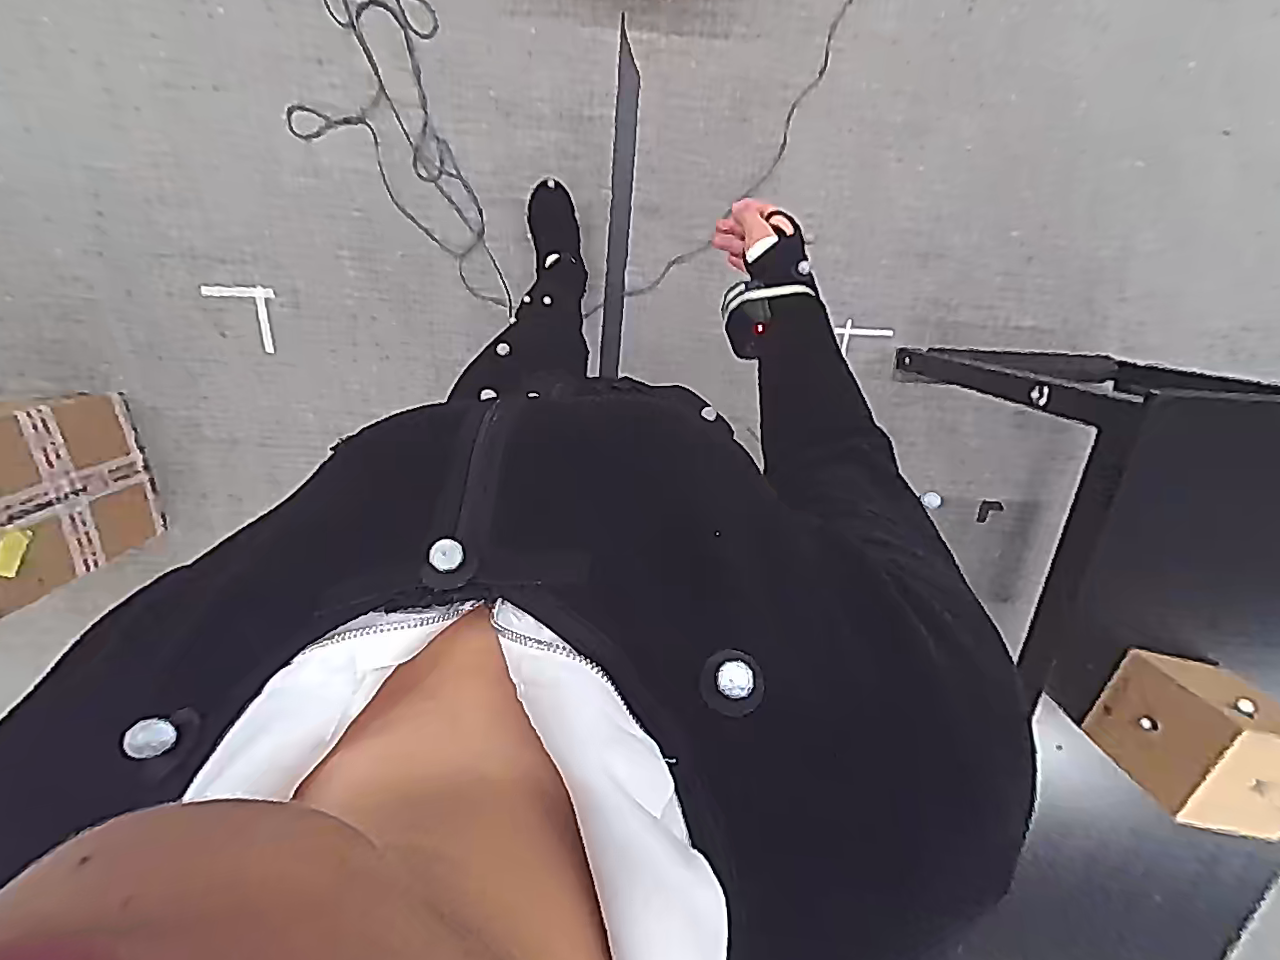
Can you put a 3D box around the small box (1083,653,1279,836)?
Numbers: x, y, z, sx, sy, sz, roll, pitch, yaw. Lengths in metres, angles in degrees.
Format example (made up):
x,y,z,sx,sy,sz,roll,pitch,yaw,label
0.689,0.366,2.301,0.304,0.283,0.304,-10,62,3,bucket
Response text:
x,y,z,sx,sy,sz,roll,pitch,yaw,label
0.830,0.383,0.806,0.179,0.176,0.168,13,109,-7,small box
